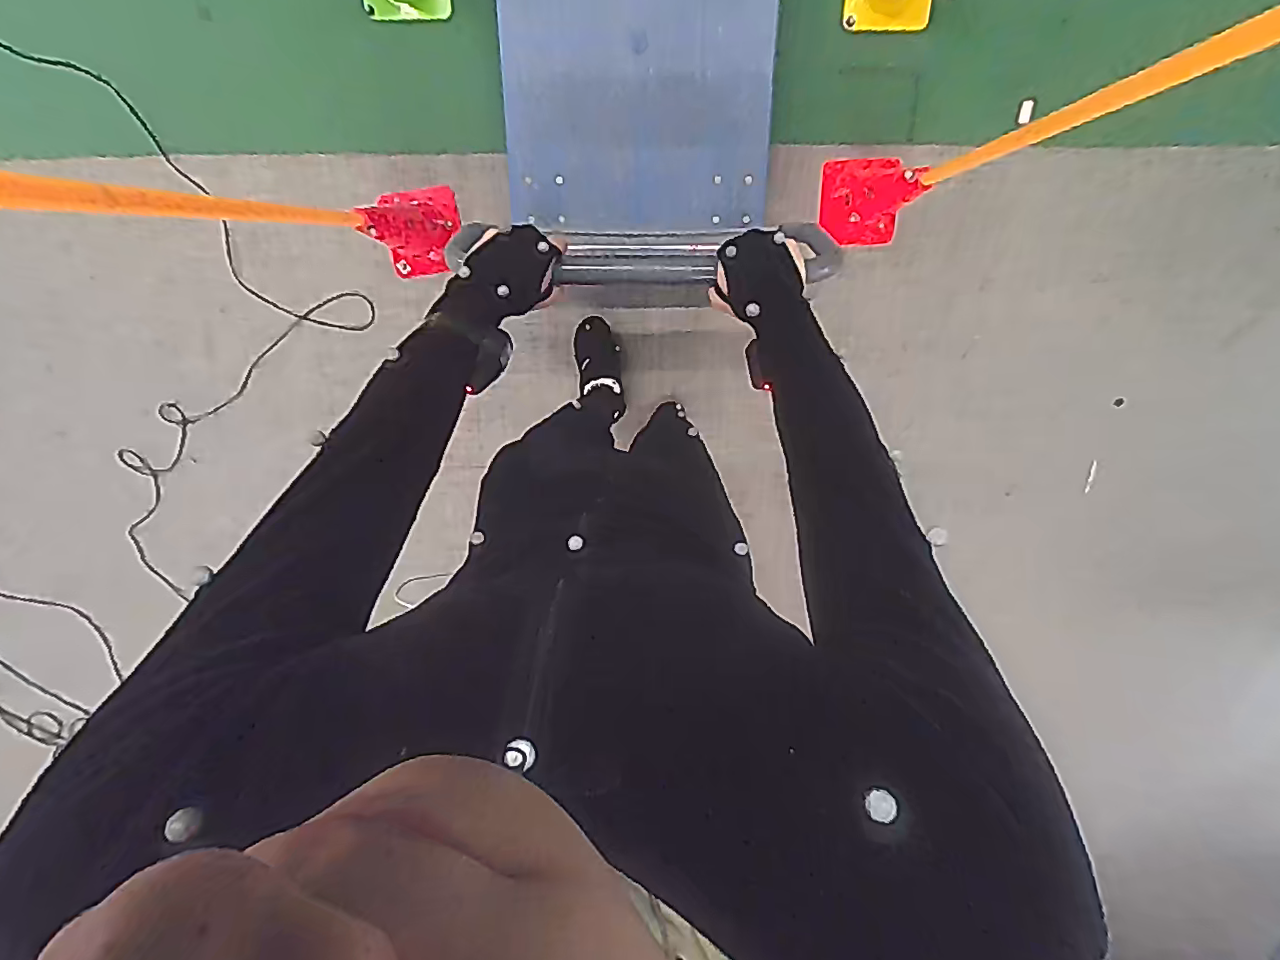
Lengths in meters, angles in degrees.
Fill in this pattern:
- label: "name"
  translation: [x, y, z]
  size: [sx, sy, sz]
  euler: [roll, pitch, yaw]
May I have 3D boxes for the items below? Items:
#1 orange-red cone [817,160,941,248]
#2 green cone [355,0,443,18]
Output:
- label: "orange-red cone"
  translation: [0.552, -0.638, 1.197]
  size: [0.198, 0.360, 0.199]
  euler: [-1, 109, -1]
- label: "green cone"
  translation: [-0.539, -1.079, 1.022]
  size: [0.200, 0.368, 0.202]
  euler: [-1, 109, 1]
